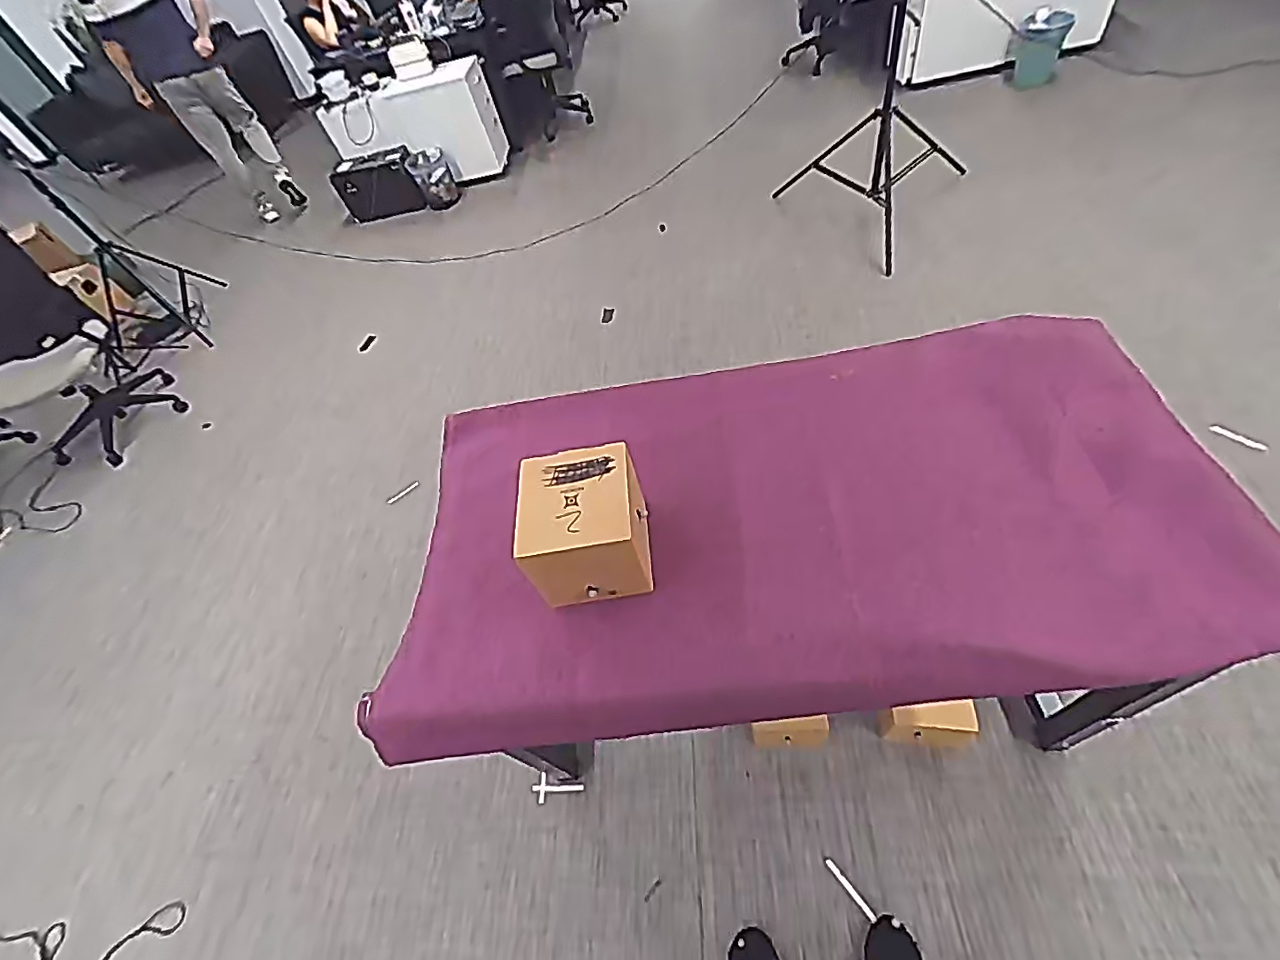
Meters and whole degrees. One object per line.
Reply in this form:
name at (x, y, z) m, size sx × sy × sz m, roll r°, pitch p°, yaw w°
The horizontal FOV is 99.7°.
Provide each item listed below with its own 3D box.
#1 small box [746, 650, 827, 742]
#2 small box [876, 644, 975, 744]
small box at (0.352, 0.529, 1.314) m, size 0.168 × 0.176 × 0.179 m, roll -5°, pitch 52°, yaw 10°
small box at (0.655, 0.502, 1.260) m, size 0.168 × 0.176 × 0.179 m, roll 0°, pitch 53°, yaw 15°
